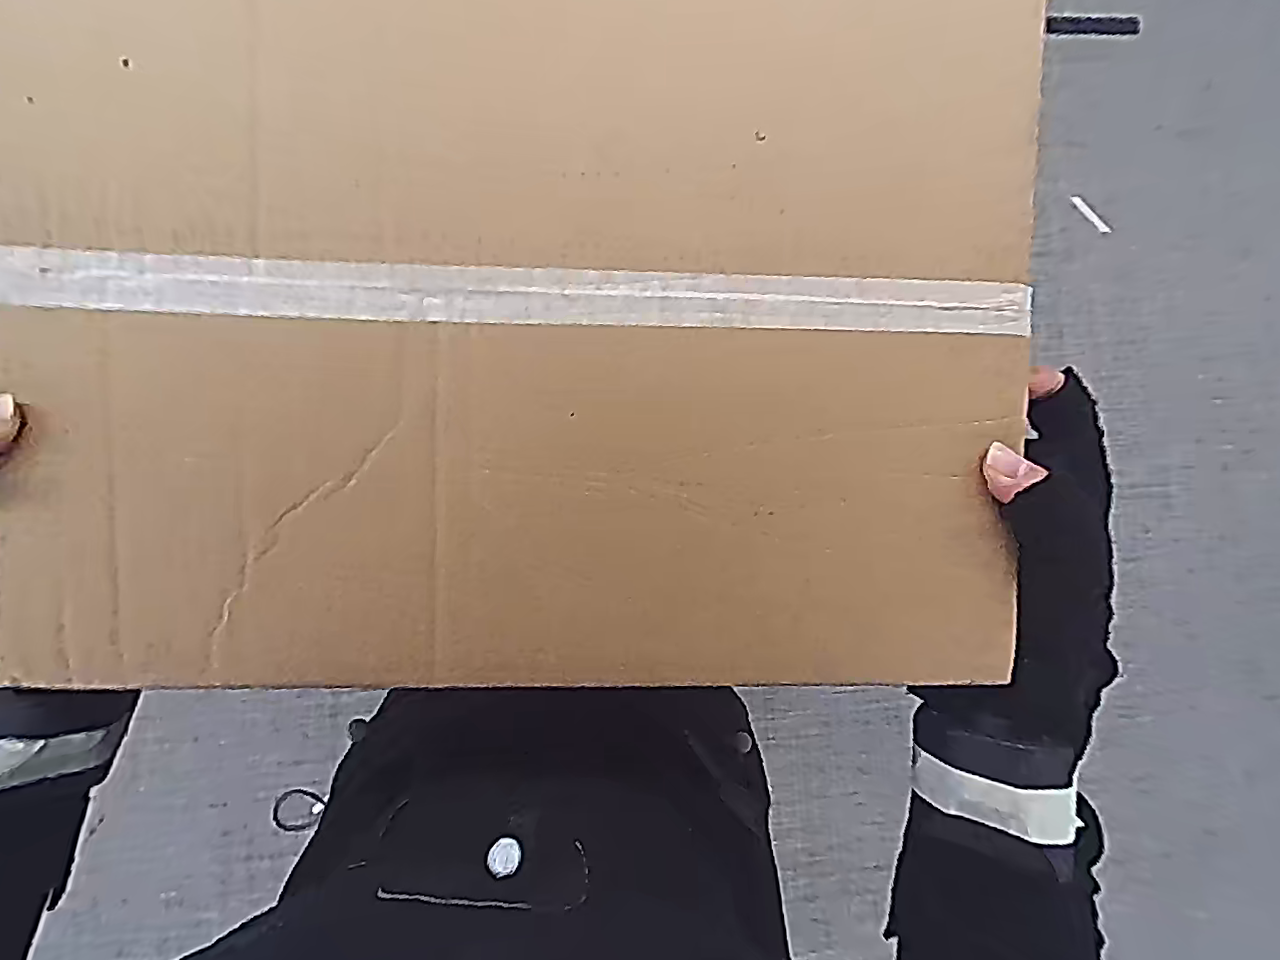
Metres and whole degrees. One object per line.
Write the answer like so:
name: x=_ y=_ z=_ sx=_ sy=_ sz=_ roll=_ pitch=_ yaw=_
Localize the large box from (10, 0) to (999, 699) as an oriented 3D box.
large box: x=-0.052 y=-0.070 z=0.375 sx=0.408 sy=0.320 sz=0.320 roll=0 pitch=92 yaw=-3
